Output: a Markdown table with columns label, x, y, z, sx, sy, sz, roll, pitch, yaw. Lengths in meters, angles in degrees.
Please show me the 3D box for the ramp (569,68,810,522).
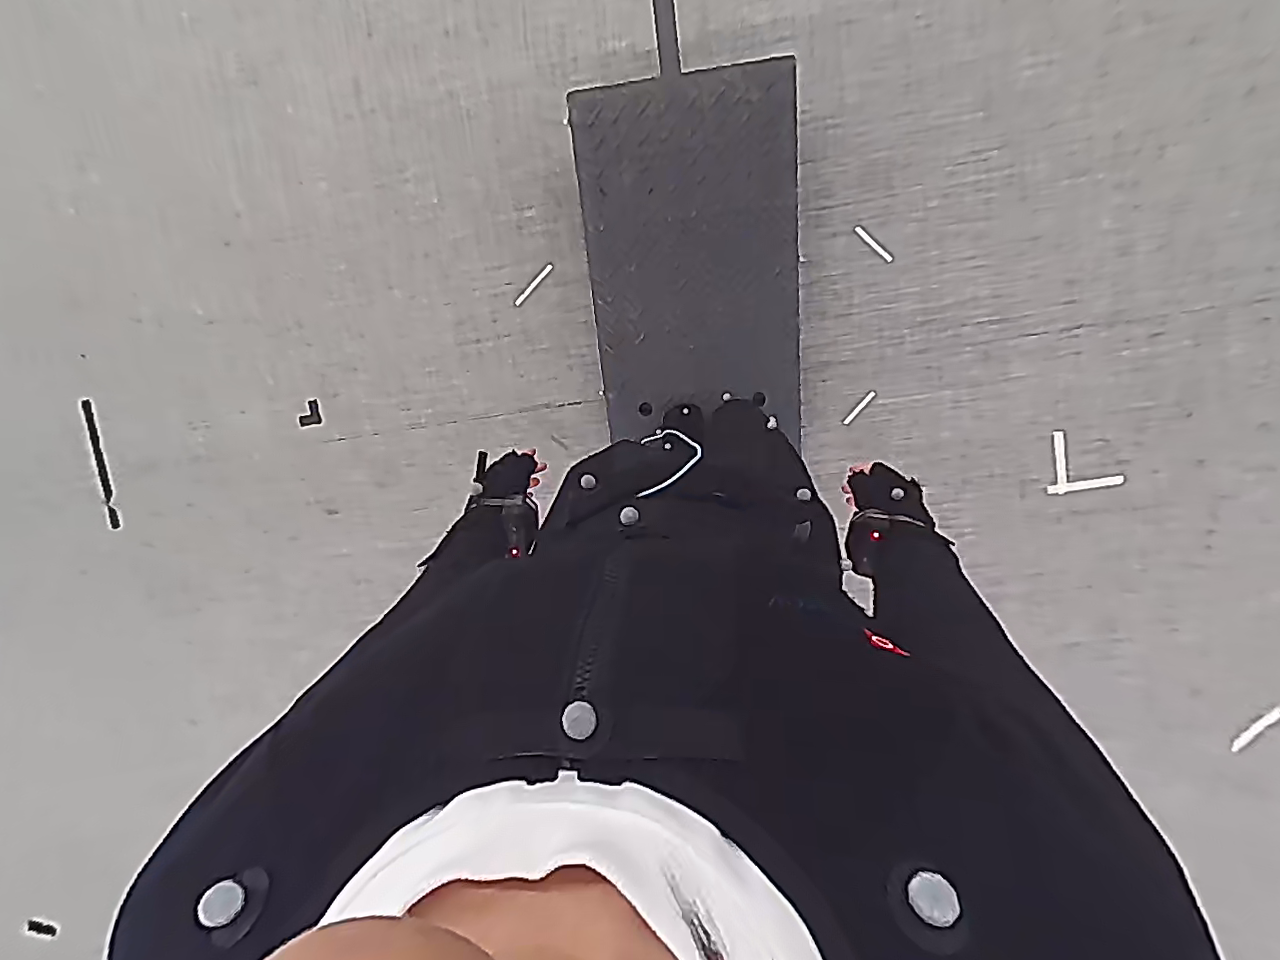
| label | x | y | z | sx | sy | sz | roll | pitch | yaw |
| --- | --- | --- | --- | --- | --- | --- | --- | --- | --- |
| ramp | 0.150 | -0.378 | 1.322 | 0.509 | 0.206 | 0.991 | -7 | 97 | 7 |
